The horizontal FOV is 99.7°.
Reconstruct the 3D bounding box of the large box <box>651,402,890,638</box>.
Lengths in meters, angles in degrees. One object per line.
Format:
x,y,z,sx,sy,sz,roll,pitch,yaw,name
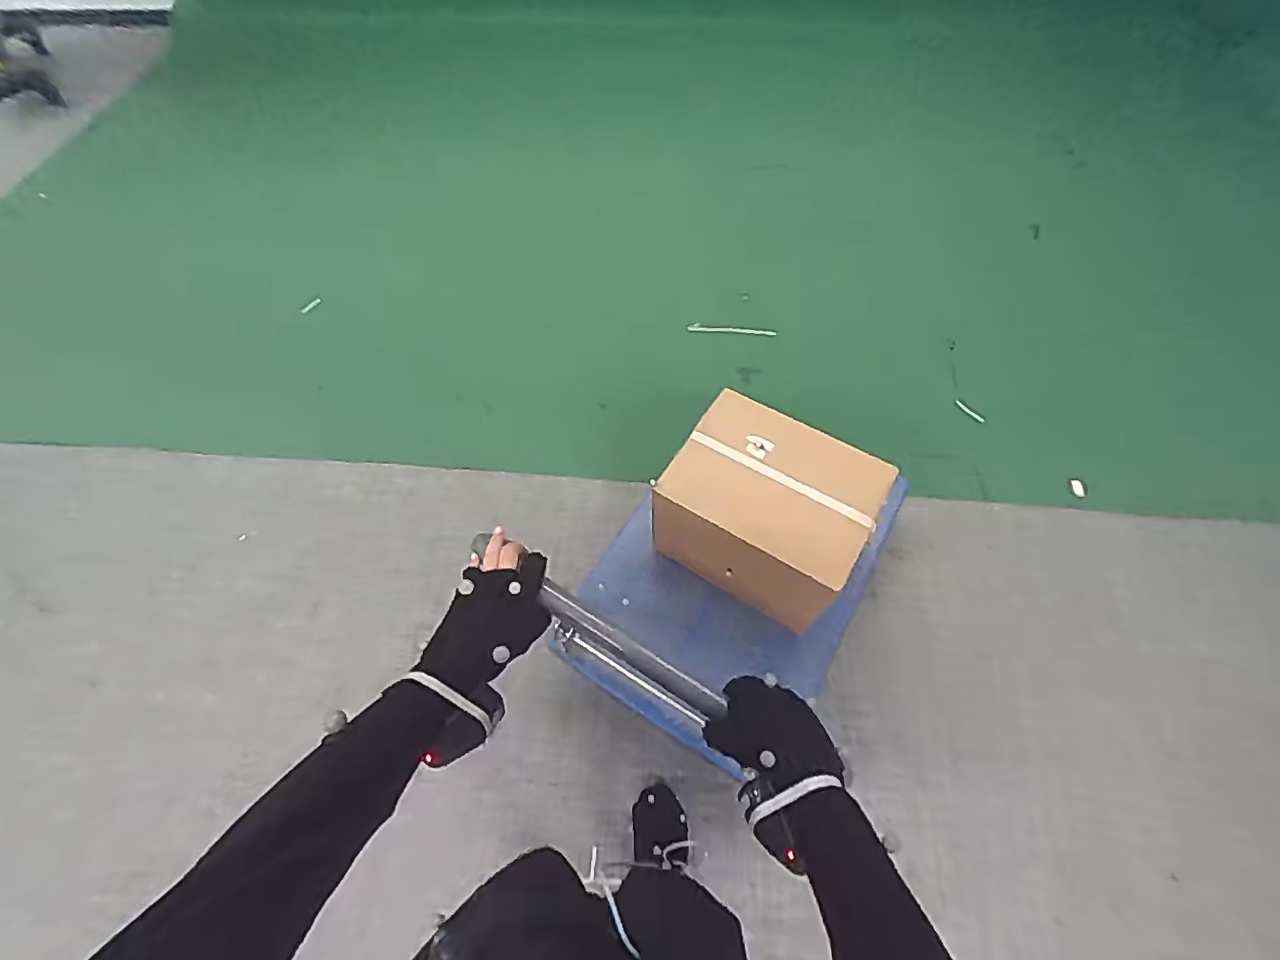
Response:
0.277,0.095,1.234,0.408,0.320,0.320,28,63,19,large box
